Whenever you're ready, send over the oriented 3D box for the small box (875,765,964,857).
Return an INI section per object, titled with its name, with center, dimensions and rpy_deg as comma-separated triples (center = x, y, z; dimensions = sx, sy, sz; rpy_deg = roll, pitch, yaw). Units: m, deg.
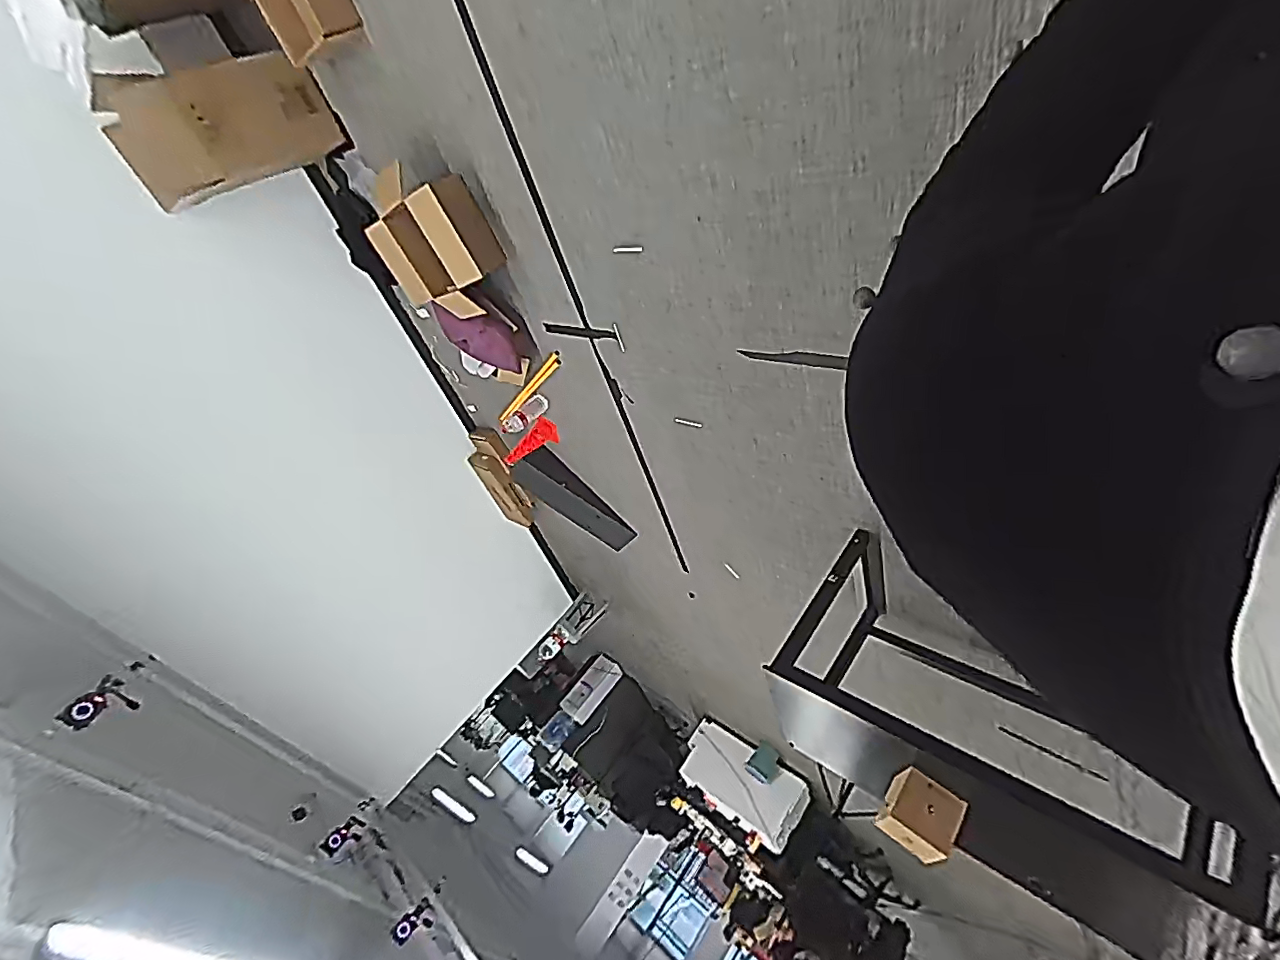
[small box]
center = 0.844, 0.994, 1.629
dimensions = 0.168, 0.176, 0.179
rpy_deg = 31, 150, 26
